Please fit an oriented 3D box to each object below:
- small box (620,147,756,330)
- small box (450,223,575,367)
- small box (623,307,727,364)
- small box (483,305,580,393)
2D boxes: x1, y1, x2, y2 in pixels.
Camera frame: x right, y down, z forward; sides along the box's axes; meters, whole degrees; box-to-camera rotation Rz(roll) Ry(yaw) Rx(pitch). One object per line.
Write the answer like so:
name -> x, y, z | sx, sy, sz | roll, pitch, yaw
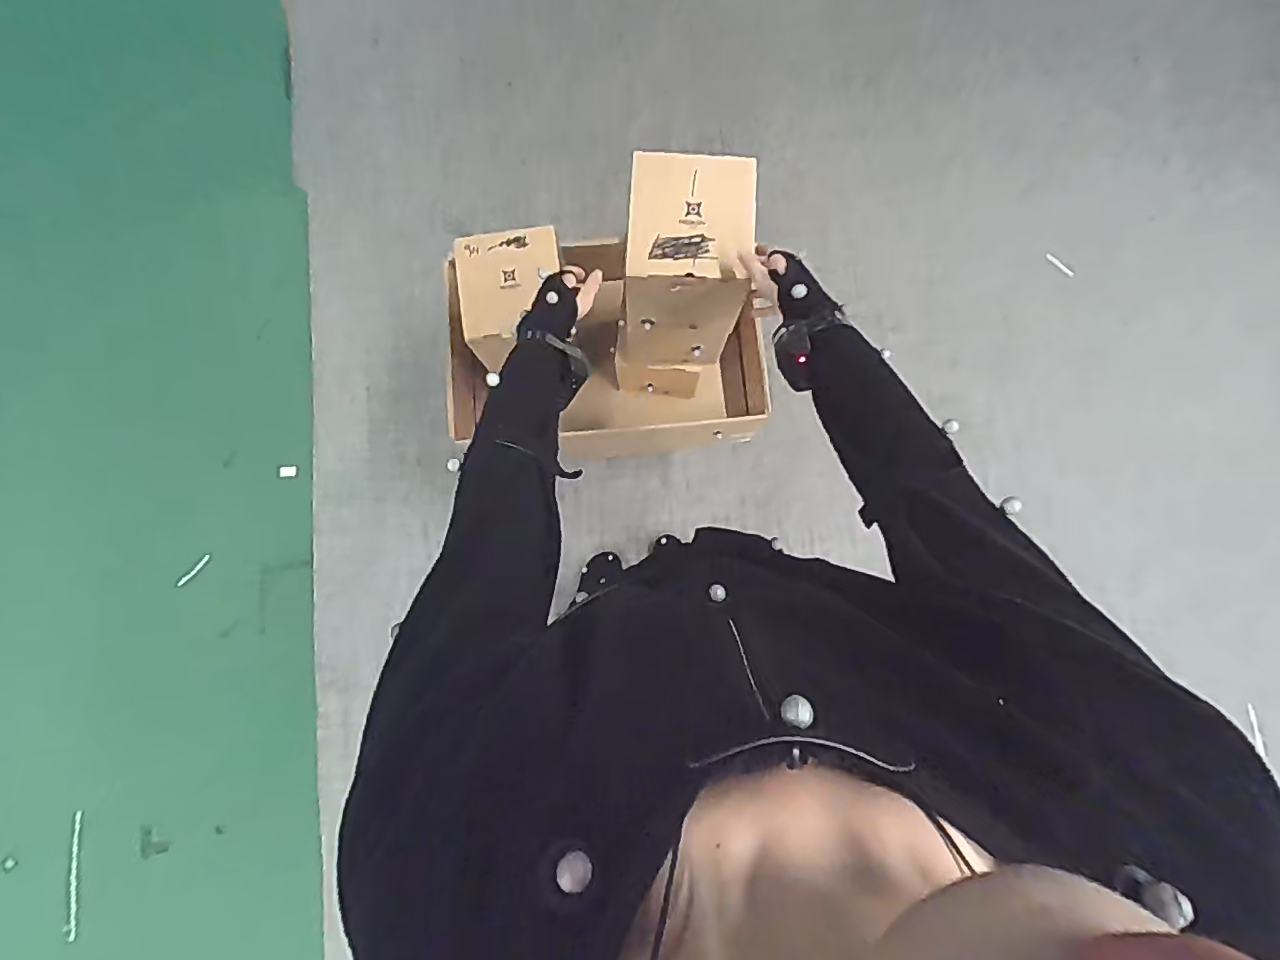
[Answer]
small box -> 0.063, -0.329, 0.766 | 0.168, 0.176, 0.179 | 4, 81, 0
small box -> -0.209, -0.303, 0.925 | 0.168, 0.176, 0.179 | -8, 83, -2
small box -> 0.058, -0.308, 0.929 | 0.168, 0.176, 0.179 | 1, 82, 0
small box -> -0.219, -0.293, 1.090 | 0.168, 0.176, 0.179 | -8, 82, -1
